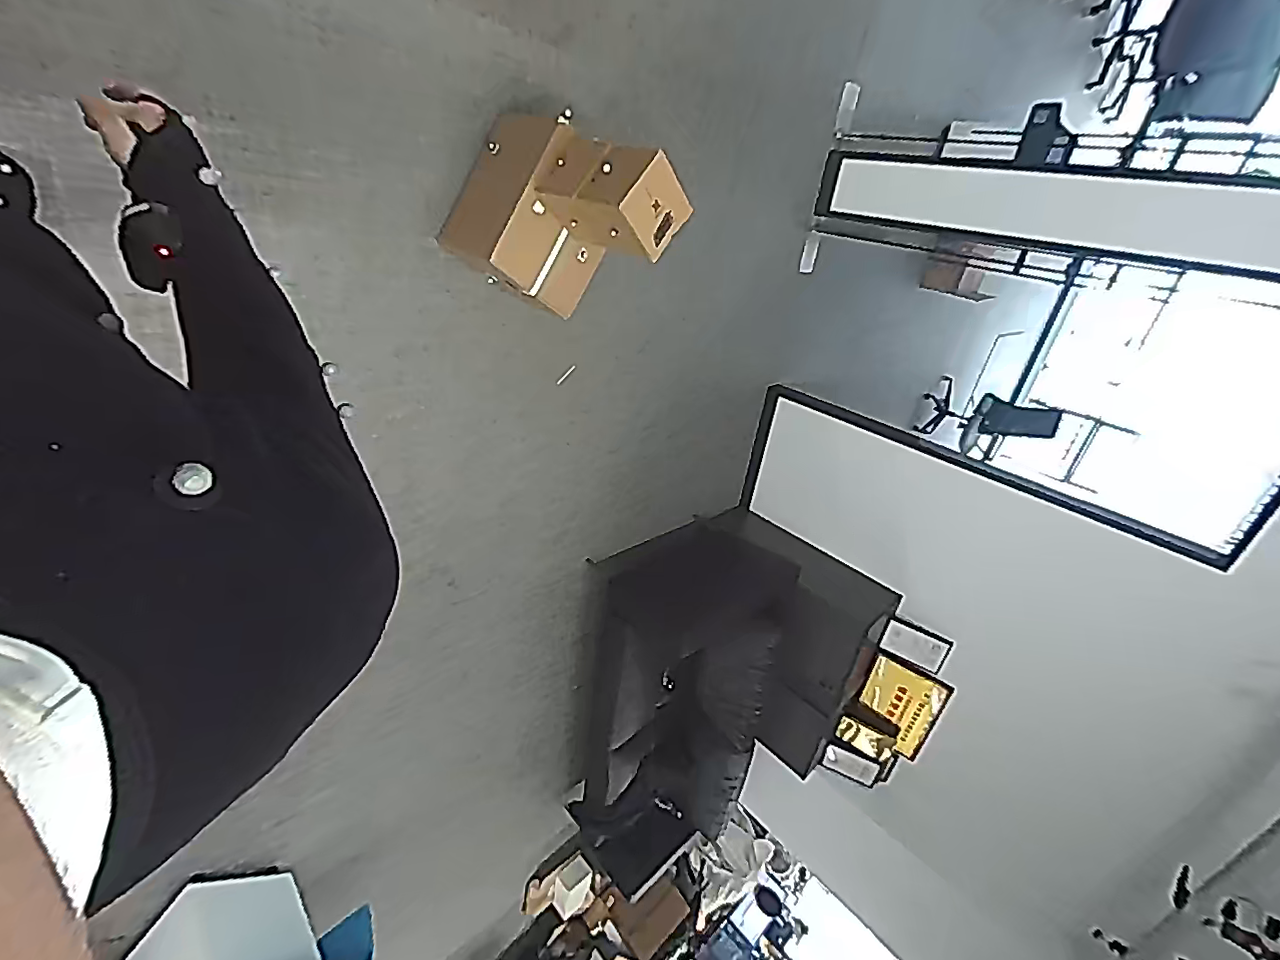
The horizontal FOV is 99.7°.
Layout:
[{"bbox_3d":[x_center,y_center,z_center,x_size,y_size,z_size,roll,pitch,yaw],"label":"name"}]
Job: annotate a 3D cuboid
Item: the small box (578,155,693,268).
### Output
[{"bbox_3d":[-0.010,-0.640,1.283,0.168,0.176,0.179,-54,141,-4],"label":"small box"}]
